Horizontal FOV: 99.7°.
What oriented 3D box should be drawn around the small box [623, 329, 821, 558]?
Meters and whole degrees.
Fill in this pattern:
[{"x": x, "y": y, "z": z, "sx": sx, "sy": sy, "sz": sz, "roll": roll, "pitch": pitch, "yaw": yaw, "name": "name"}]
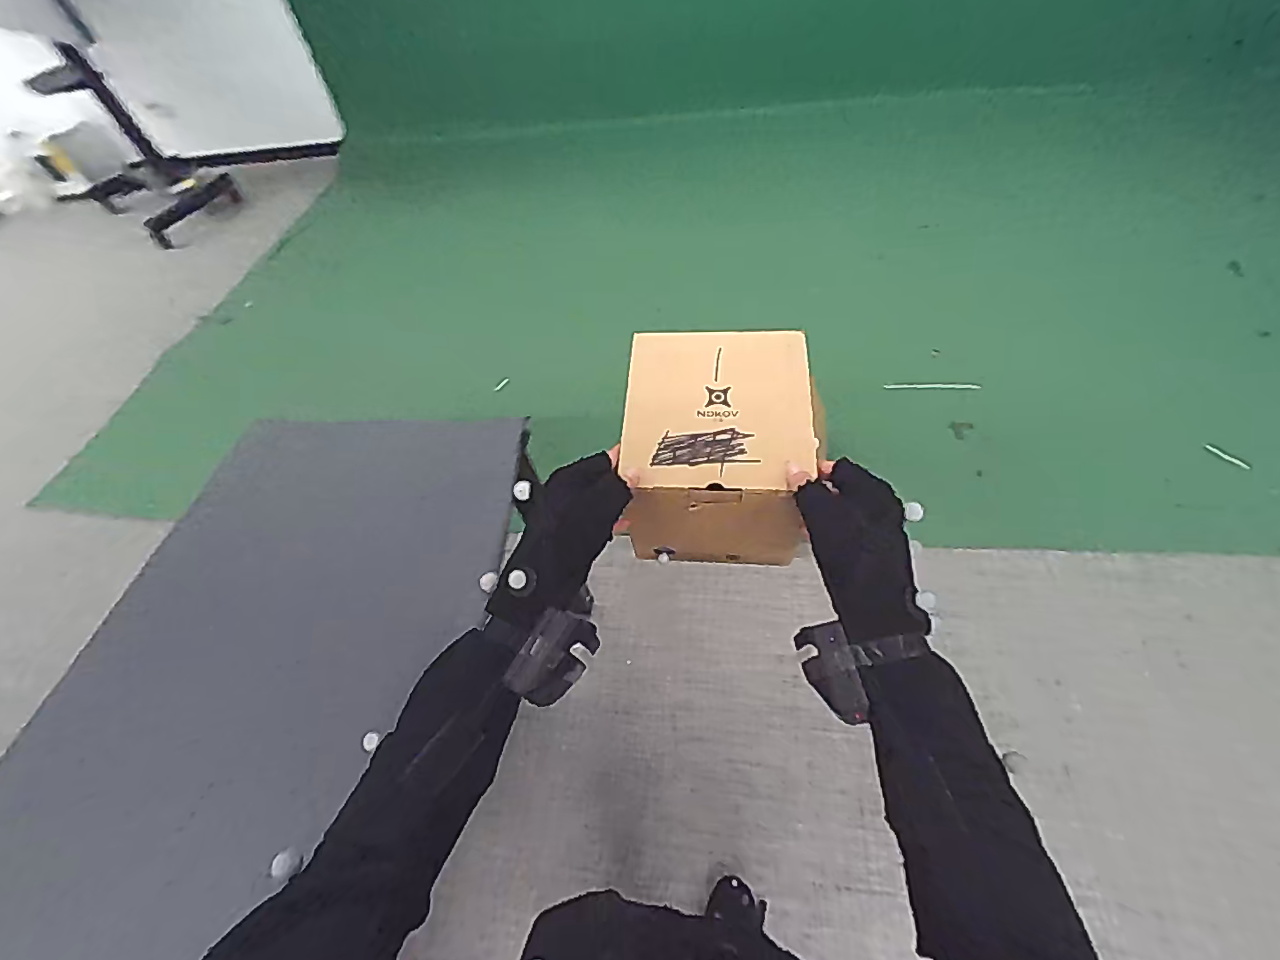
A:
[{"x": 0.083, "y": -0.030, "z": 0.550, "sx": 0.168, "sy": 0.176, "sz": 0.179, "roll": 2, "pitch": 61, "yaw": 8, "name": "small box"}]
